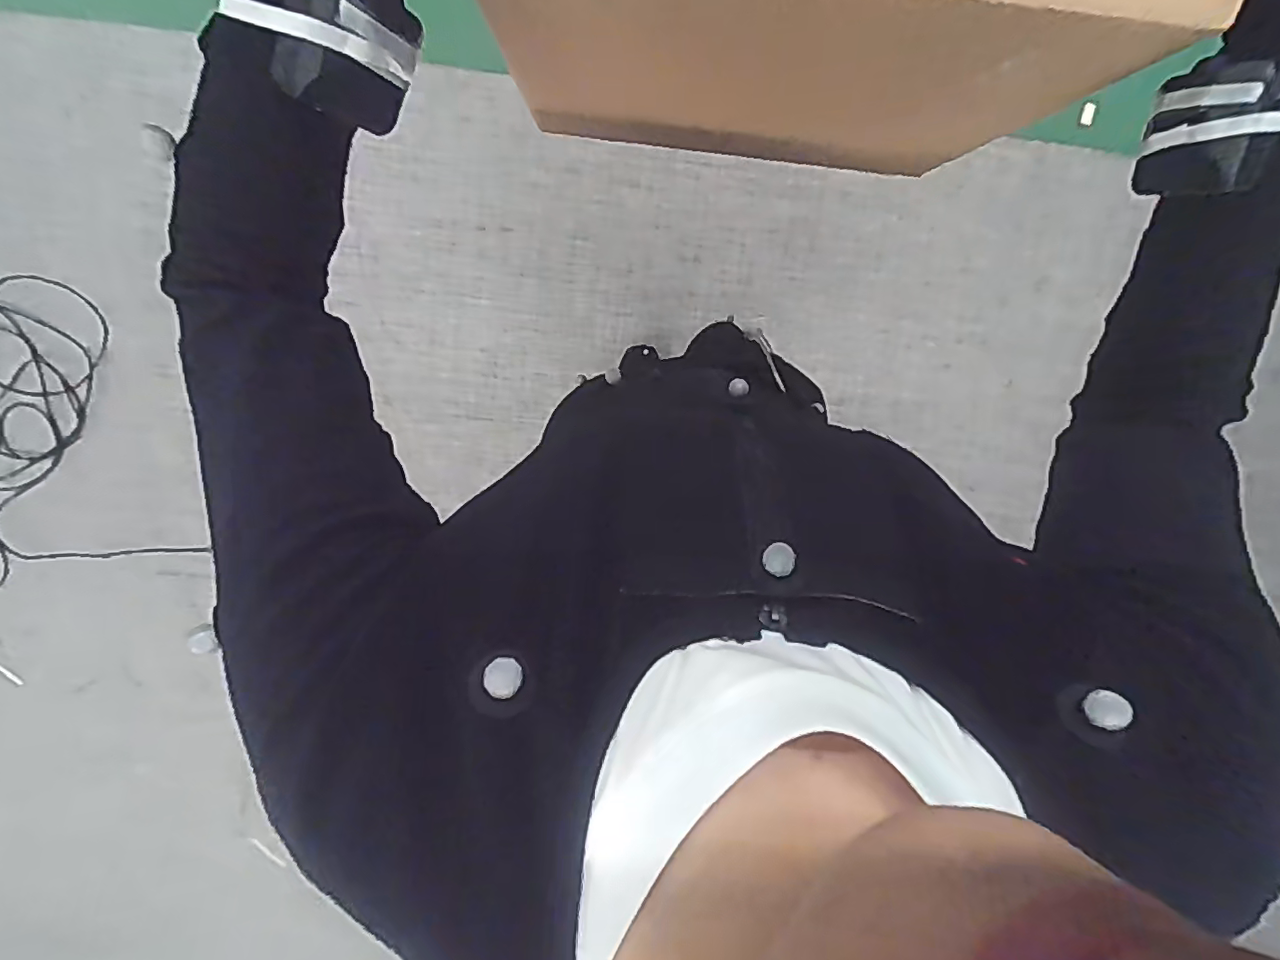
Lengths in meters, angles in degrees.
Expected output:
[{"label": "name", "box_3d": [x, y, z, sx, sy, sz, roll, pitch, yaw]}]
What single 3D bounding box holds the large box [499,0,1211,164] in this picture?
[{"label": "large box", "box_3d": [0.115, -0.448, 0.381, 0.408, 0.320, 0.320, 4, 107, -3]}]
